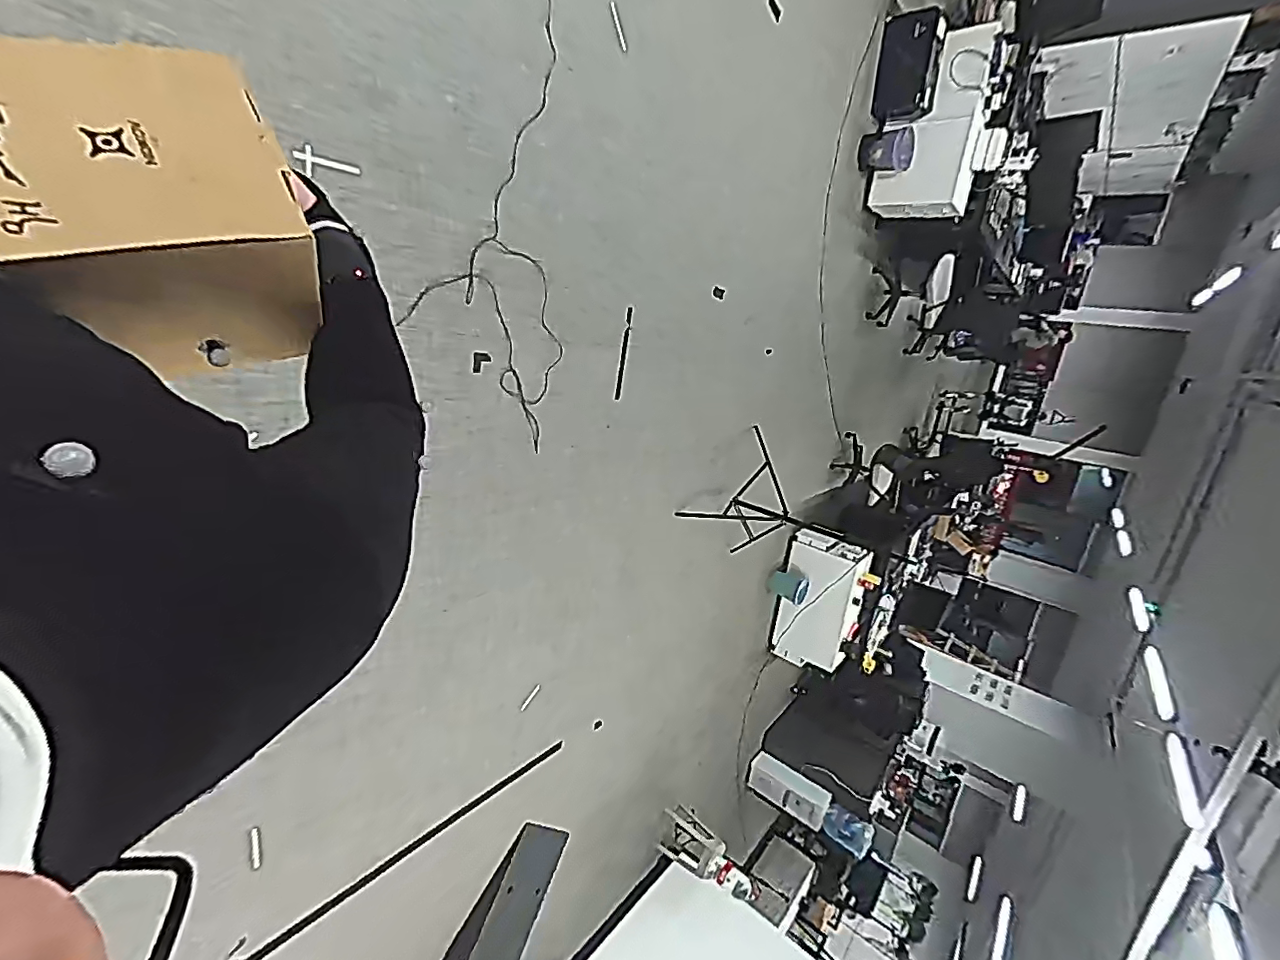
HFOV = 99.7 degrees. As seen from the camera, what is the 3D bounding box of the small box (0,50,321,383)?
[{"bbox_3d":[-0.387,-0.203,0.448,0.179,0.176,0.168,-23,82,-33],"label":"small box"}]
